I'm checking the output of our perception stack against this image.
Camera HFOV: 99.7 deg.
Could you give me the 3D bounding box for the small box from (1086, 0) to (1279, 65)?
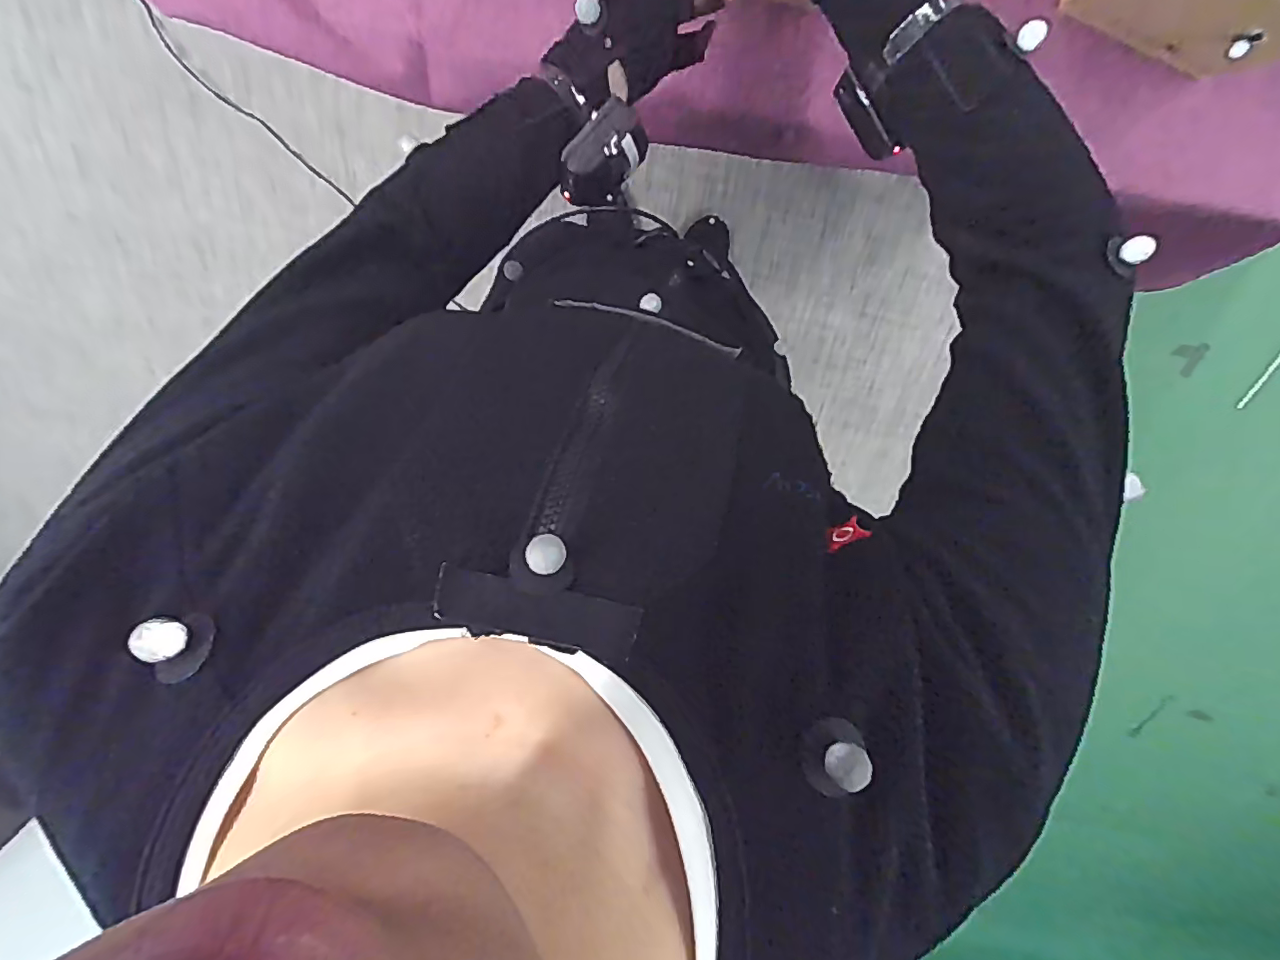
[{"bbox_3d":[0.482,-0.443,0.394,0.168,0.176,0.179,19,118,-6],"label":"small box"}]
